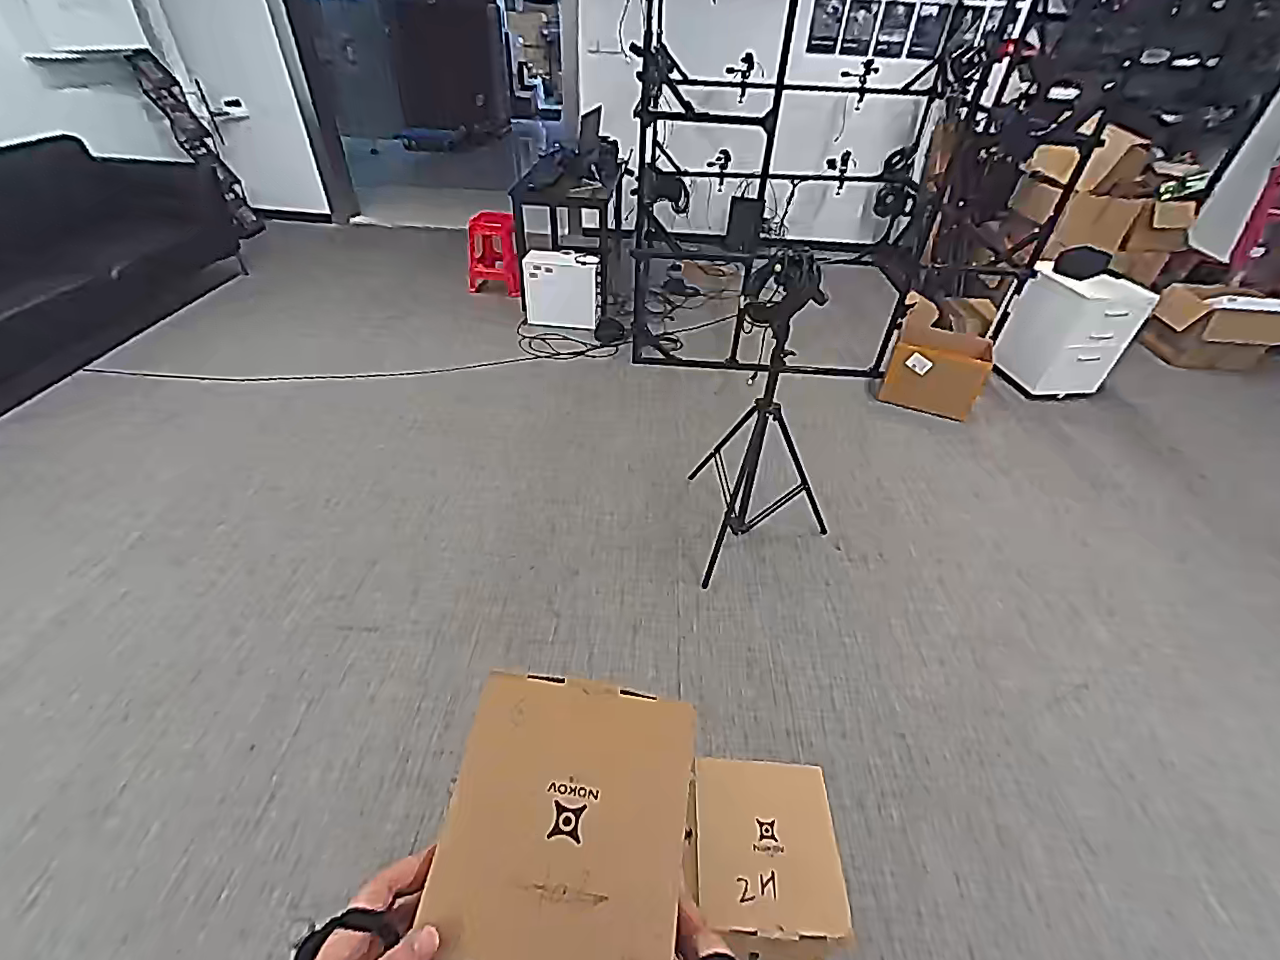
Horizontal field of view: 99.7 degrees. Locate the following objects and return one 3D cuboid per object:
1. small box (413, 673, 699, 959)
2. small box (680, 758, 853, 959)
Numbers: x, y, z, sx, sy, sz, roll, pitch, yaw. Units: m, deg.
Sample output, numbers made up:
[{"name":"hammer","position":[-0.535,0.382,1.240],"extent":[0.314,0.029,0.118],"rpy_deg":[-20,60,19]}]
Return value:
[{"name":"small box","position":[-0.054,0.279,0.439],"extent":[0.168,0.176,0.179],"rpy_deg":[9,56,1]},{"name":"small box","position":[0.139,0.478,0.677],"extent":[0.168,0.176,0.179],"rpy_deg":[5,41,-1]}]
